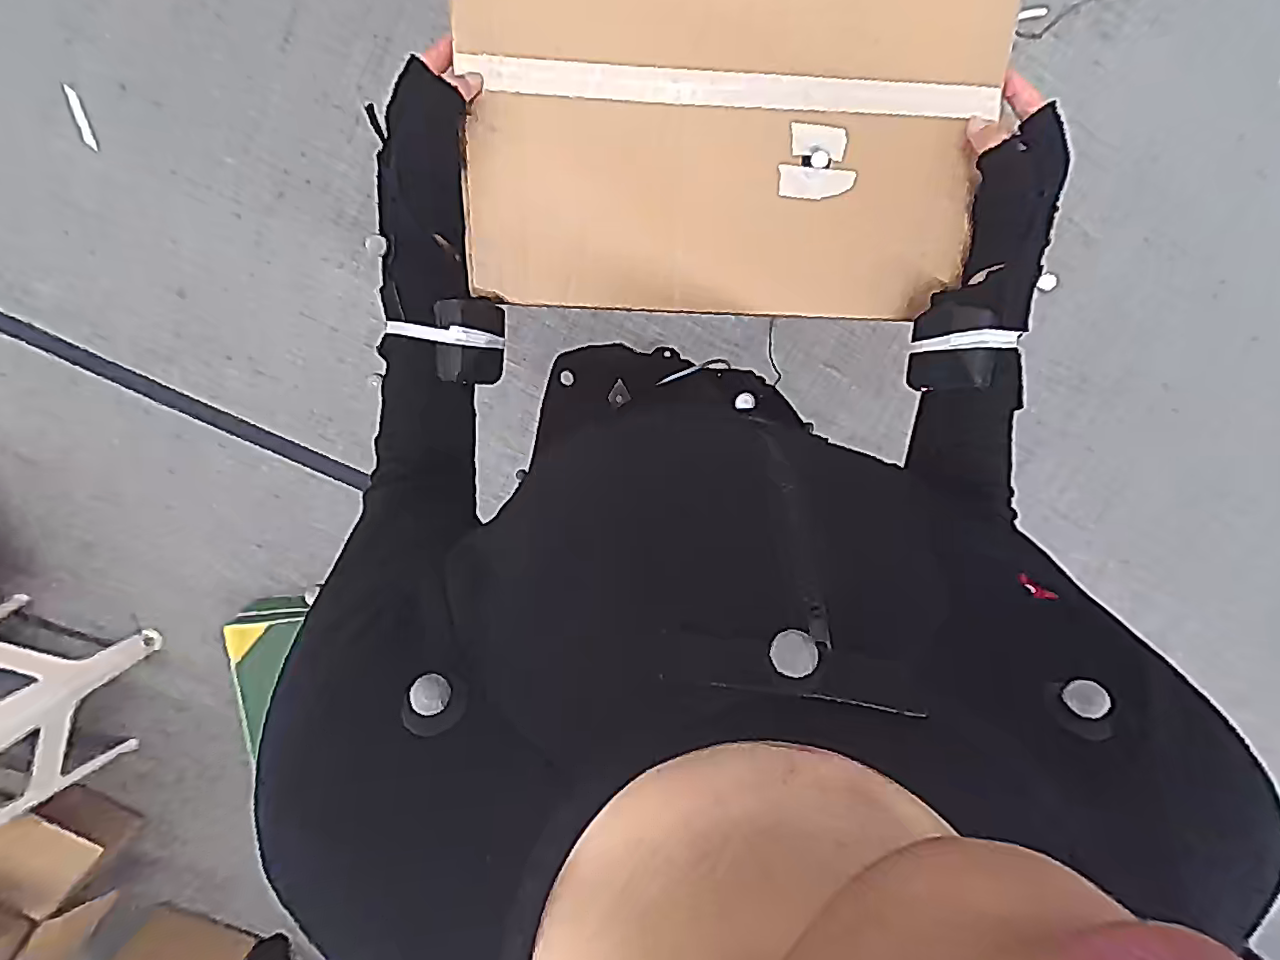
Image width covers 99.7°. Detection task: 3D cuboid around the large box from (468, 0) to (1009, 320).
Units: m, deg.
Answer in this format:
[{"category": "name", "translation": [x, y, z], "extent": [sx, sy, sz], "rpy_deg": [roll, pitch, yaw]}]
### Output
[{"category": "large box", "translation": [0.062, -0.337, 0.553], "extent": [0.408, 0.320, 0.320], "rpy_deg": [2, 110, -4]}]
